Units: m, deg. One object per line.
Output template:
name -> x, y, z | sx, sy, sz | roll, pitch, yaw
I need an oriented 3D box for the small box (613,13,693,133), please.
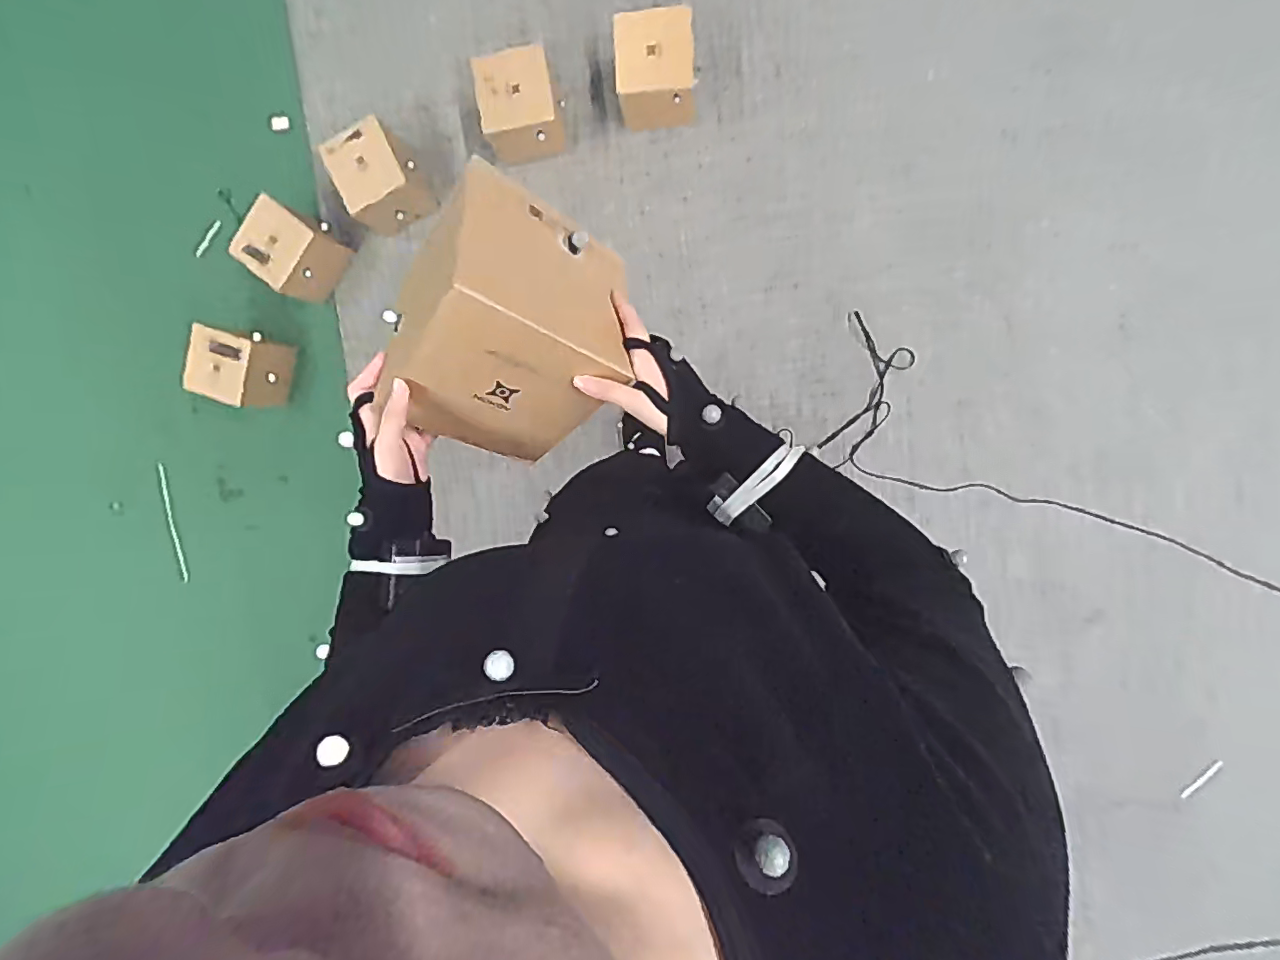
small box -> 0.036, -0.950, 1.280 | 0.179, 0.176, 0.168 | -2, 97, 5

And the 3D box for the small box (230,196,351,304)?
small box -> -0.900, -0.589, 1.412 | 0.168, 0.176, 0.179 | 39, 98, 0

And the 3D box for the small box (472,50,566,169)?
small box -> -0.283, -0.889, 1.314 | 0.179, 0.176, 0.168 | -8, 96, 6

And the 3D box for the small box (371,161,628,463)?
small box -> -0.127, -0.147, 0.515 | 0.179, 0.168, 0.176 | -32, 50, 39

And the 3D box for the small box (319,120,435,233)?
small box -> -0.653, -0.751, 1.367 | 0.168, 0.176, 0.179 | -24, 95, 8
